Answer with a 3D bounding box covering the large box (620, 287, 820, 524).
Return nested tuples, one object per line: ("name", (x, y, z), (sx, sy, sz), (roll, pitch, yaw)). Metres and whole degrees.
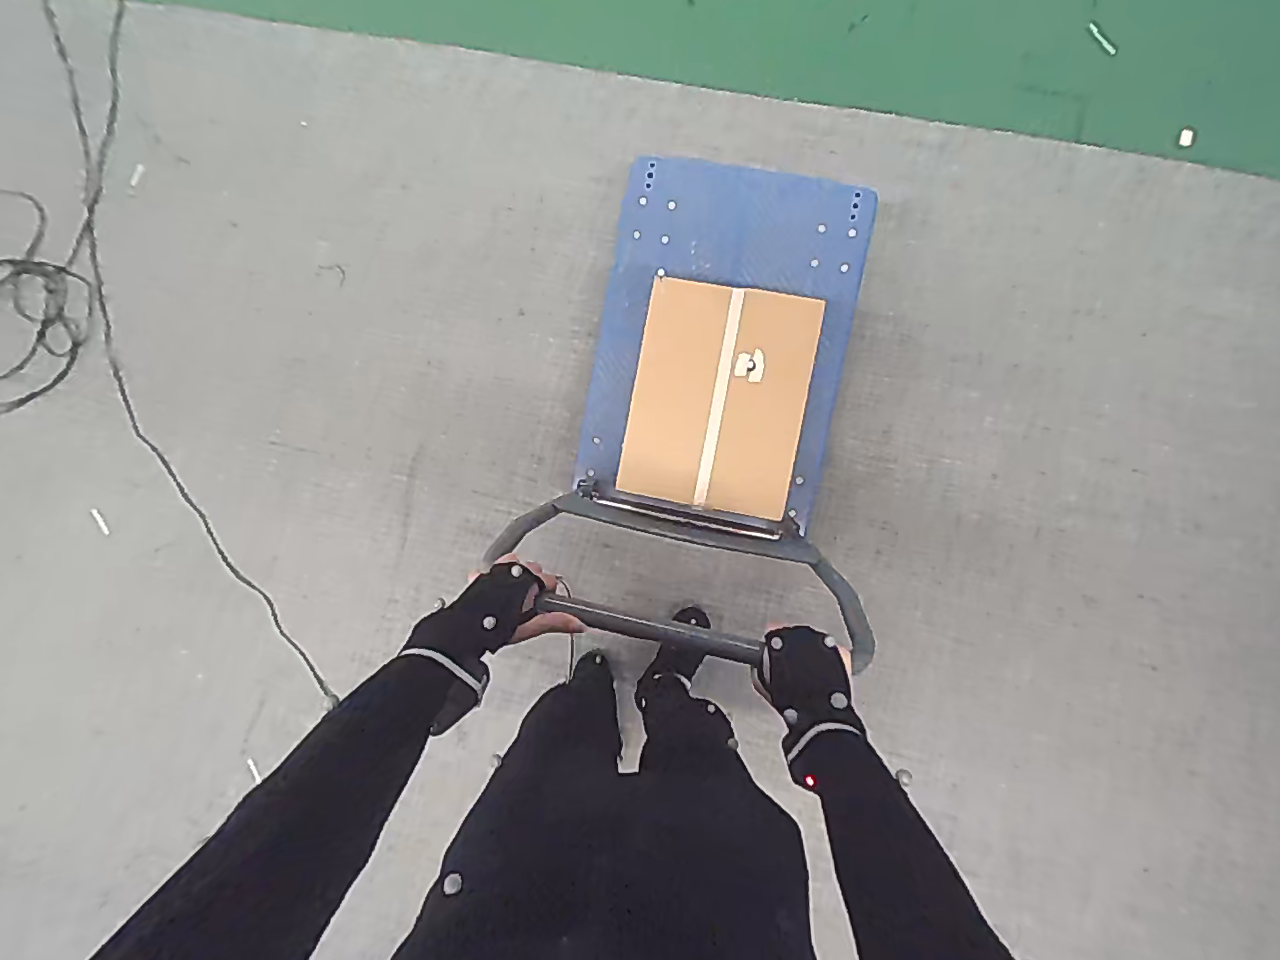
("large box", (0.159, -0.138, 1.137), (0.320, 0.320, 0.408), (11, 92, 5))
